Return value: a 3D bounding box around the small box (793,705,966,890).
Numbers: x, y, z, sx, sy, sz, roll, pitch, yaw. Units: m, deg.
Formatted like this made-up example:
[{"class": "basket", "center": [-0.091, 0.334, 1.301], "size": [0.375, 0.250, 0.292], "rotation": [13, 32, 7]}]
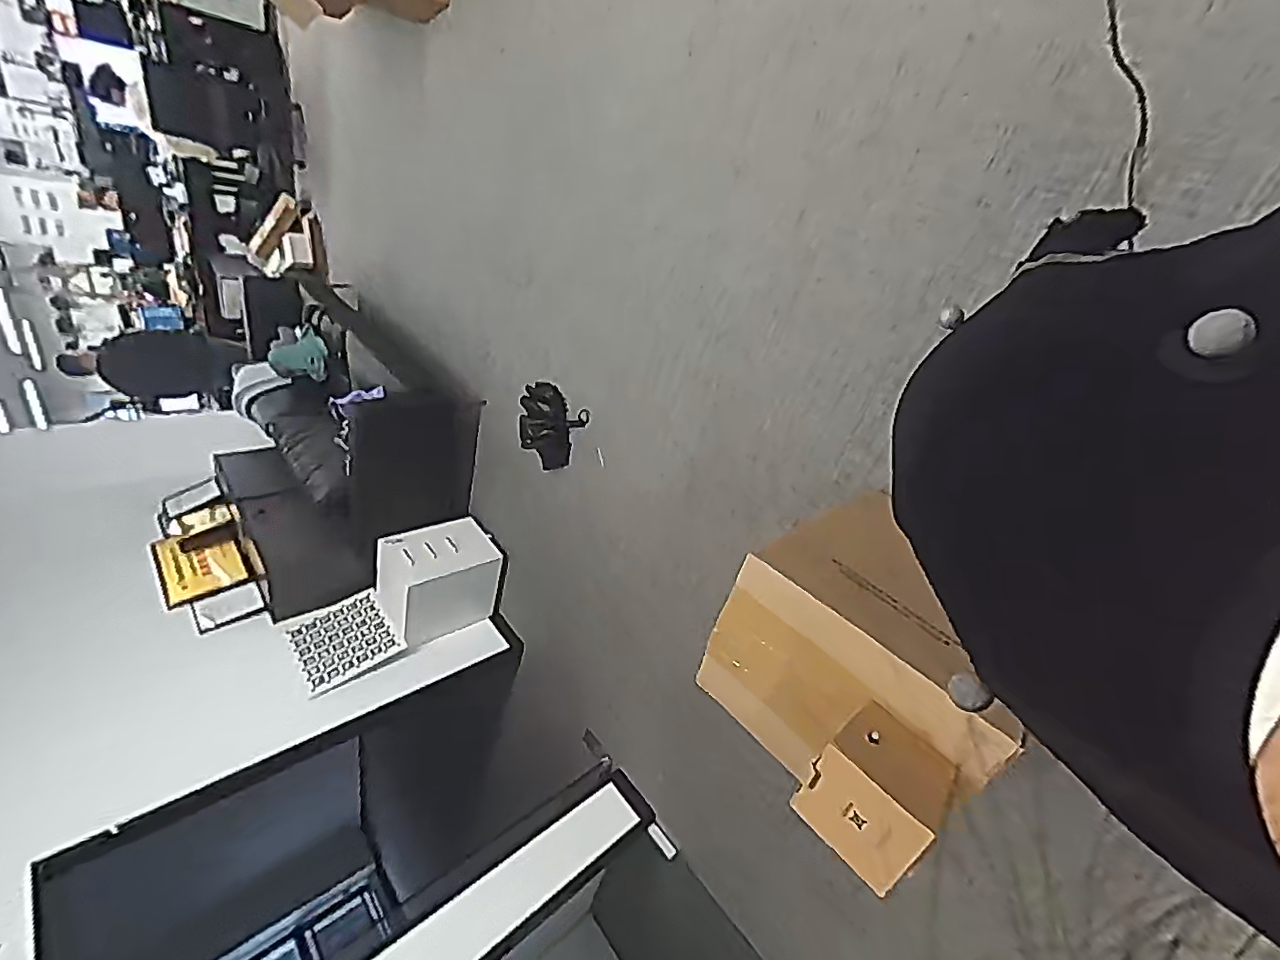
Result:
[{"class": "small box", "center": [0.393, 0.503, 0.891], "size": [0.179, 0.176, 0.168], "rotation": [35, 121, 34]}]
